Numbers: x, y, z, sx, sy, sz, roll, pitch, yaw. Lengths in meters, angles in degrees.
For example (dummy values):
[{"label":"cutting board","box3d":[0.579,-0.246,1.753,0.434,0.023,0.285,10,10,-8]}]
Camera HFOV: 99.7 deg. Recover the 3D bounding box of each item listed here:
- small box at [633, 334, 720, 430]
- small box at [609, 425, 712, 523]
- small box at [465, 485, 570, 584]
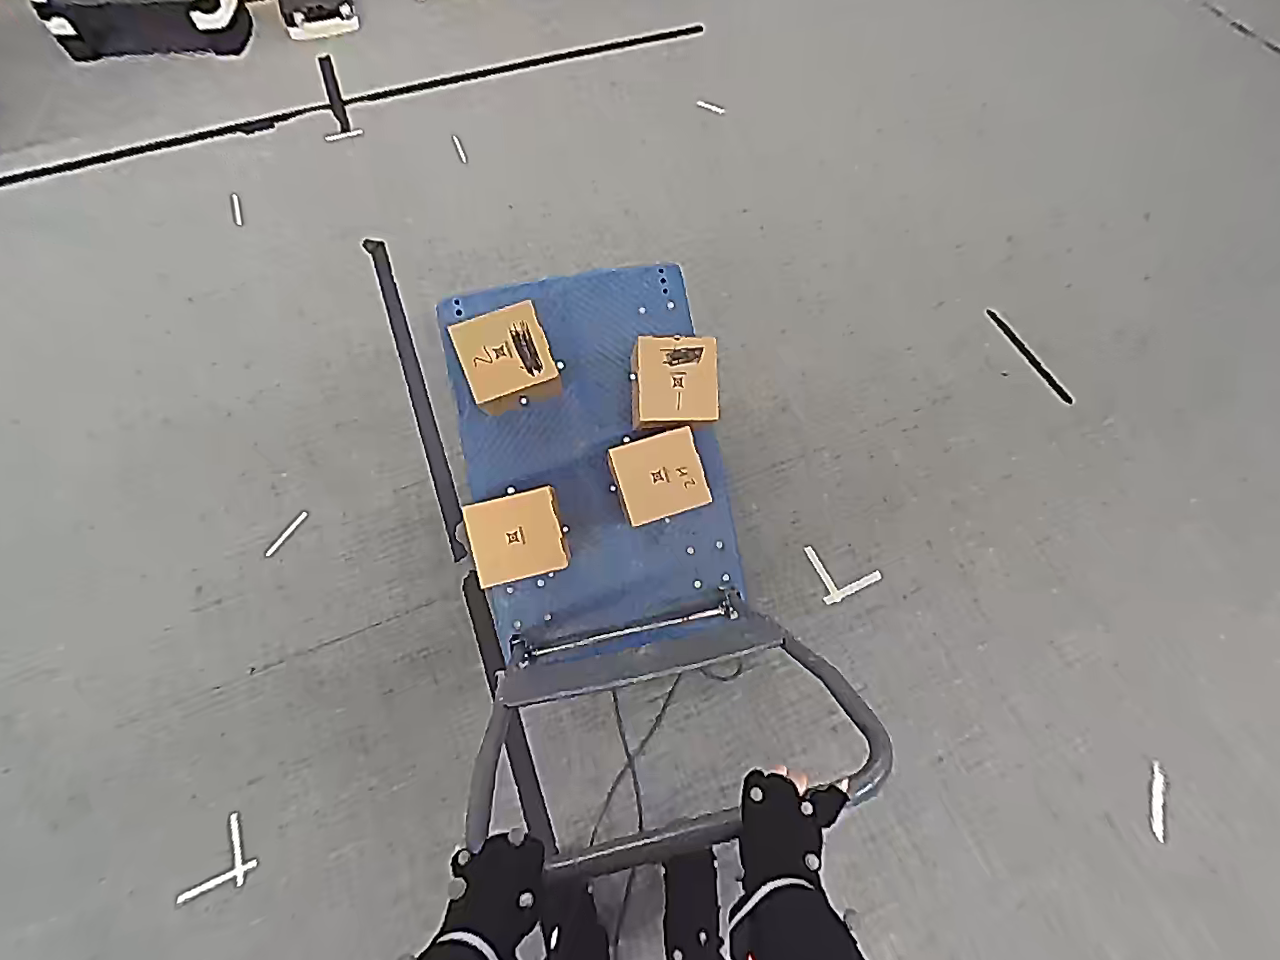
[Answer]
[{"label":"small box","box3d":[0.074,-0.208,1.182,0.168,0.176,0.179,-1,89,-5]},{"label":"small box","box3d":[0.037,-0.008,1.171,0.179,0.176,0.168,-17,90,-6]},{"label":"small box","box3d":[-0.250,0.111,1.140,0.179,0.176,0.168,-14,89,-7]}]
